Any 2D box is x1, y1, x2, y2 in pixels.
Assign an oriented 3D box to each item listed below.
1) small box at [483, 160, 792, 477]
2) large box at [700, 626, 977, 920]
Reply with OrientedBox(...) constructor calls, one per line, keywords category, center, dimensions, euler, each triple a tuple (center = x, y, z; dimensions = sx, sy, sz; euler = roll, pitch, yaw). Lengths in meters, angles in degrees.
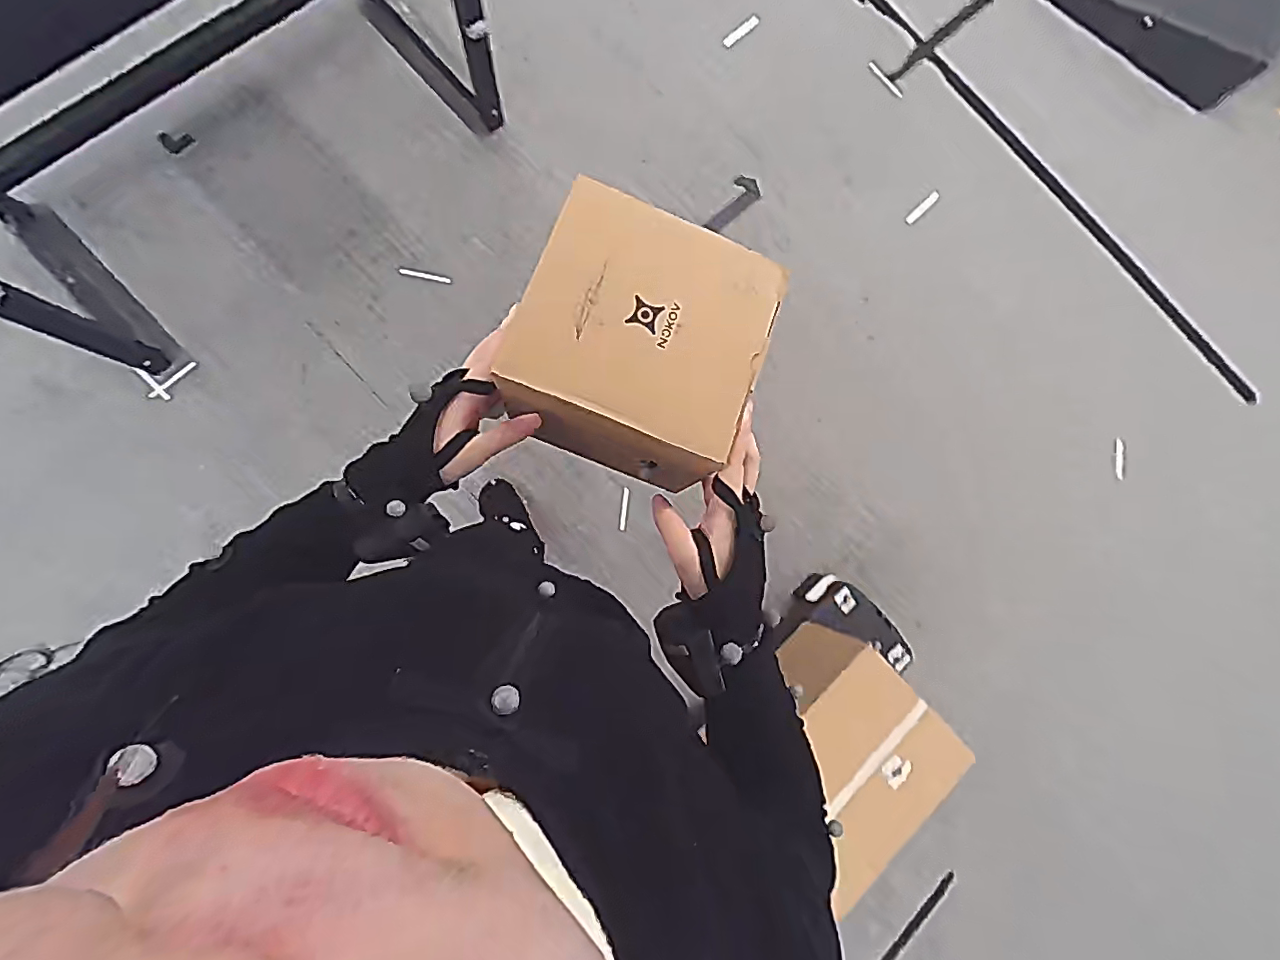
OrientedBox(category="small box", center=(-0.006, -0.111, 0.452), dimensions=(0.179, 0.176, 0.168), euler=(21, 78, -4))
OrientedBox(category="large box", center=(0.397, 0.582, 1.165), dimensions=(0.408, 0.320, 0.320), euler=(-43, 90, -10))
